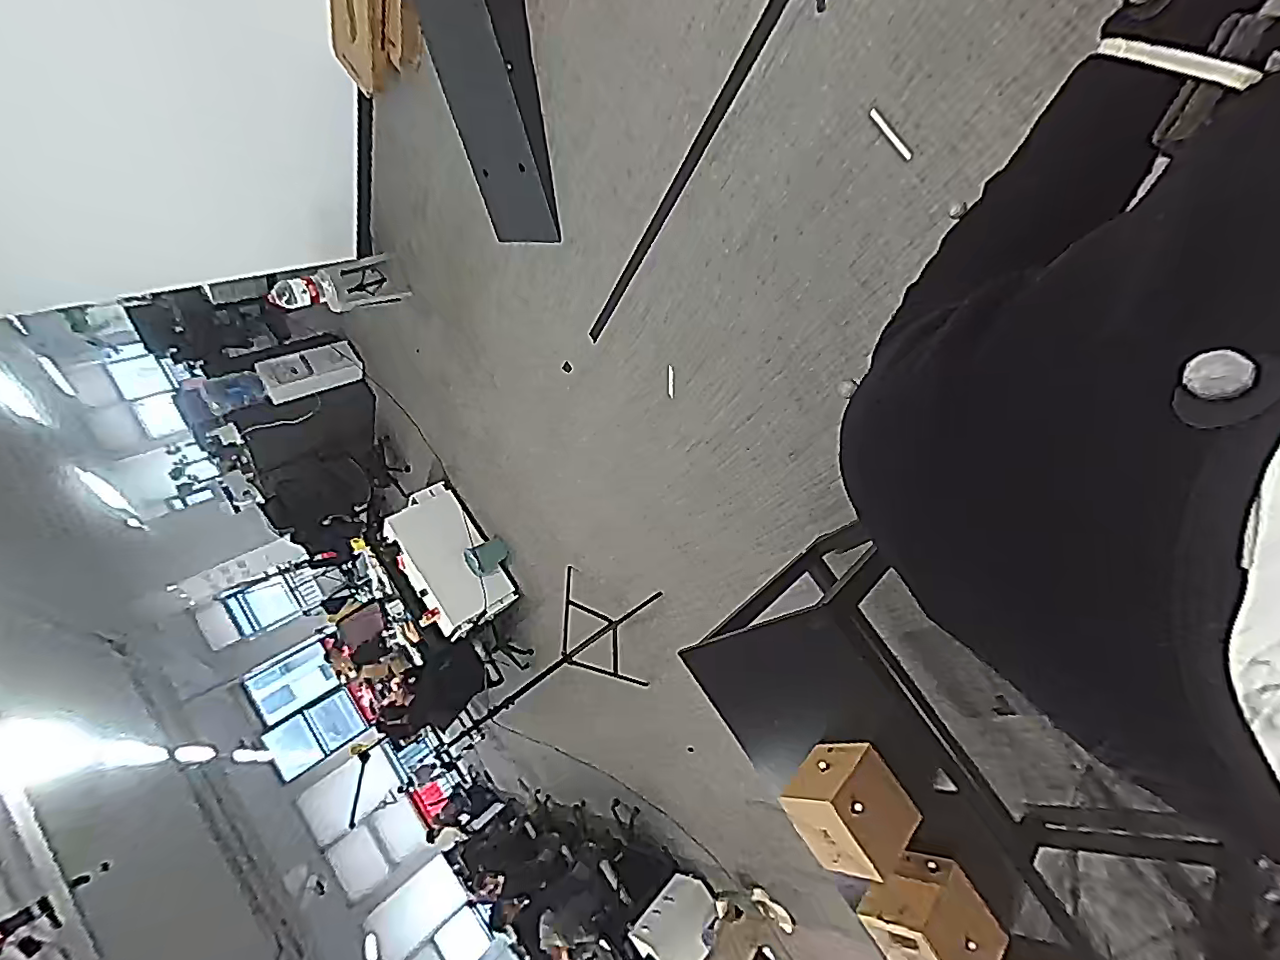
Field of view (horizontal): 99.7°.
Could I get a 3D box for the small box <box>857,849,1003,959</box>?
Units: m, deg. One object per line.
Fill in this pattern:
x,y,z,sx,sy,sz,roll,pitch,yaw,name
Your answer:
0.590,0.896,1.102,0.179,0.176,0.168,55,145,6,small box

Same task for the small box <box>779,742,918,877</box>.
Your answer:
0.436,0.677,1.136,0.179,0.176,0.168,55,146,8,small box
